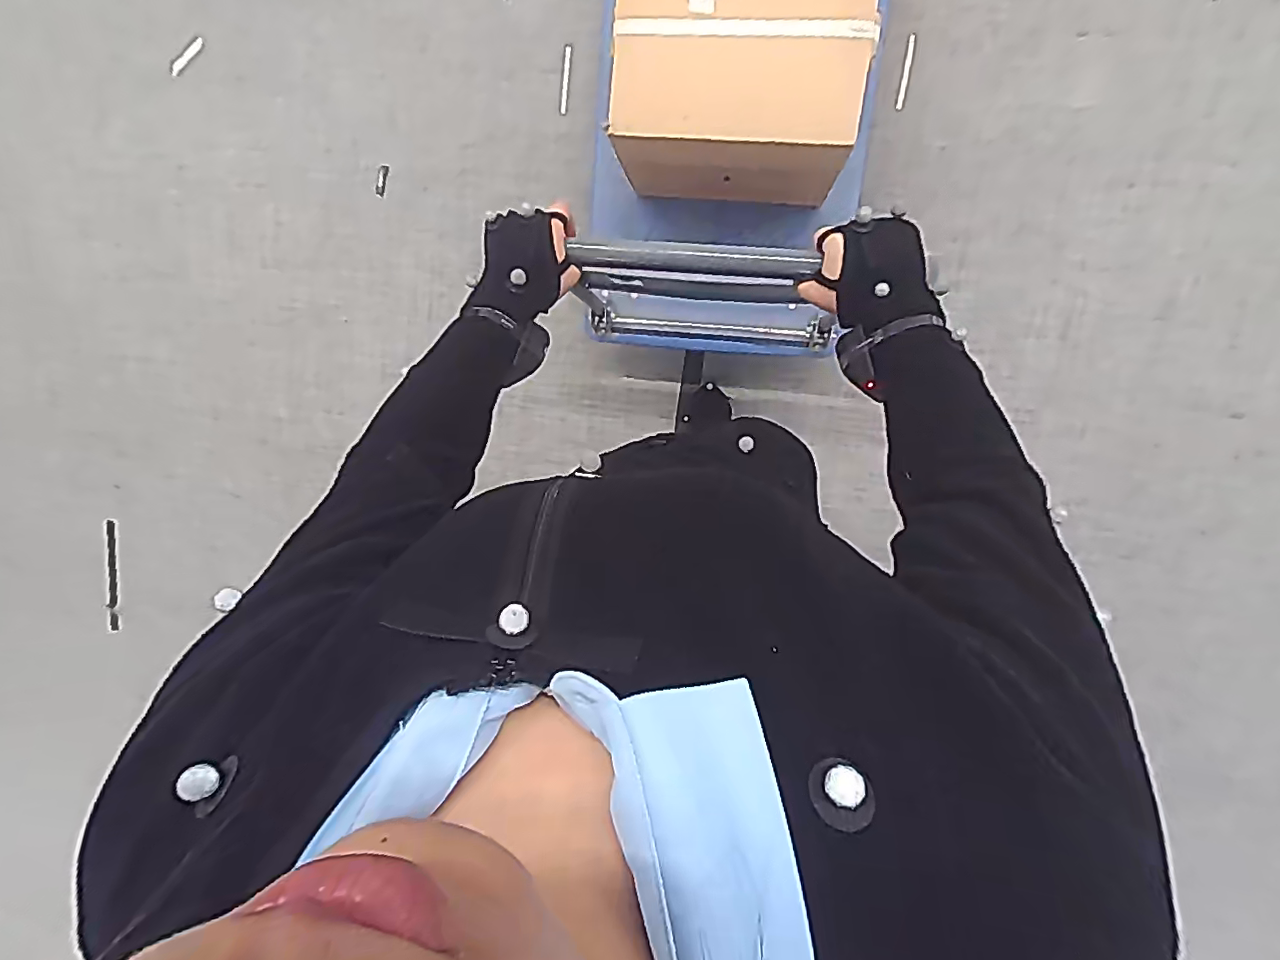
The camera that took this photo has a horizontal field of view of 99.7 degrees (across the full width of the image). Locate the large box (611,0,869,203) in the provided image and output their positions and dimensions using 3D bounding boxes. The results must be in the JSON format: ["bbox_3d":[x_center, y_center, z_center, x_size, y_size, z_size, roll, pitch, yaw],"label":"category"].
[{"bbox_3d":[0.182,-0.736,1.018,0.408,0.320,0.320,7,100,8],"label":"large box"}]
